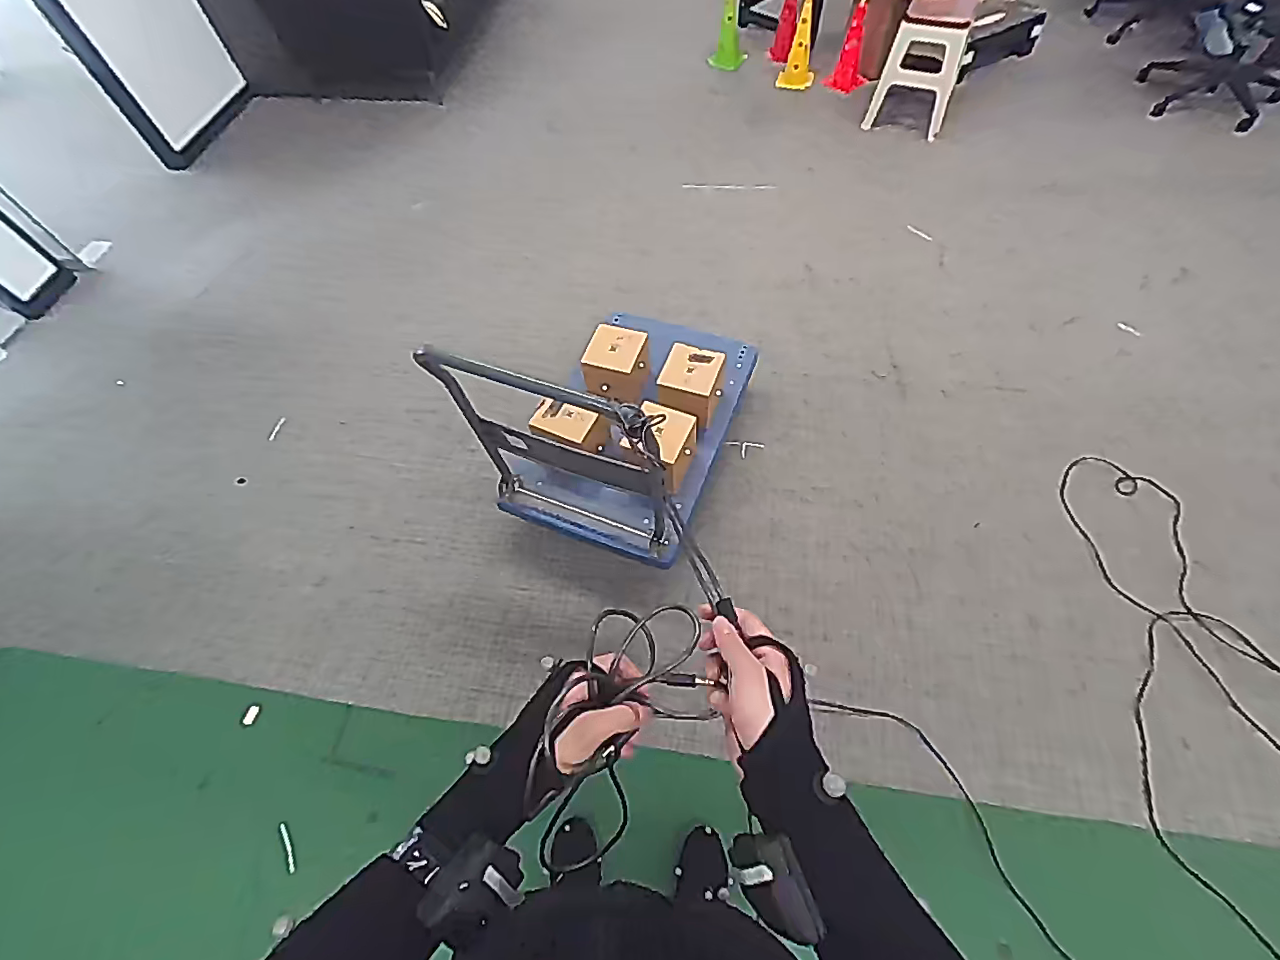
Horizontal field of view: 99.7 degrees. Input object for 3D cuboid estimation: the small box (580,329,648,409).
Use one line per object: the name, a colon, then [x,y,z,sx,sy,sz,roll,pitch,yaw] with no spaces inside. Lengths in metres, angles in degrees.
small box: [-0.076,-0.356,1.752,0.168,0.176,0.179,16,62,13]

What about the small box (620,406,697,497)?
small box: [0.056,-0.081,1.580,0.168,0.176,0.179,20,64,16]

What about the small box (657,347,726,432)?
small box: [0.159,-0.280,1.687,0.168,0.176,0.179,17,63,15]
